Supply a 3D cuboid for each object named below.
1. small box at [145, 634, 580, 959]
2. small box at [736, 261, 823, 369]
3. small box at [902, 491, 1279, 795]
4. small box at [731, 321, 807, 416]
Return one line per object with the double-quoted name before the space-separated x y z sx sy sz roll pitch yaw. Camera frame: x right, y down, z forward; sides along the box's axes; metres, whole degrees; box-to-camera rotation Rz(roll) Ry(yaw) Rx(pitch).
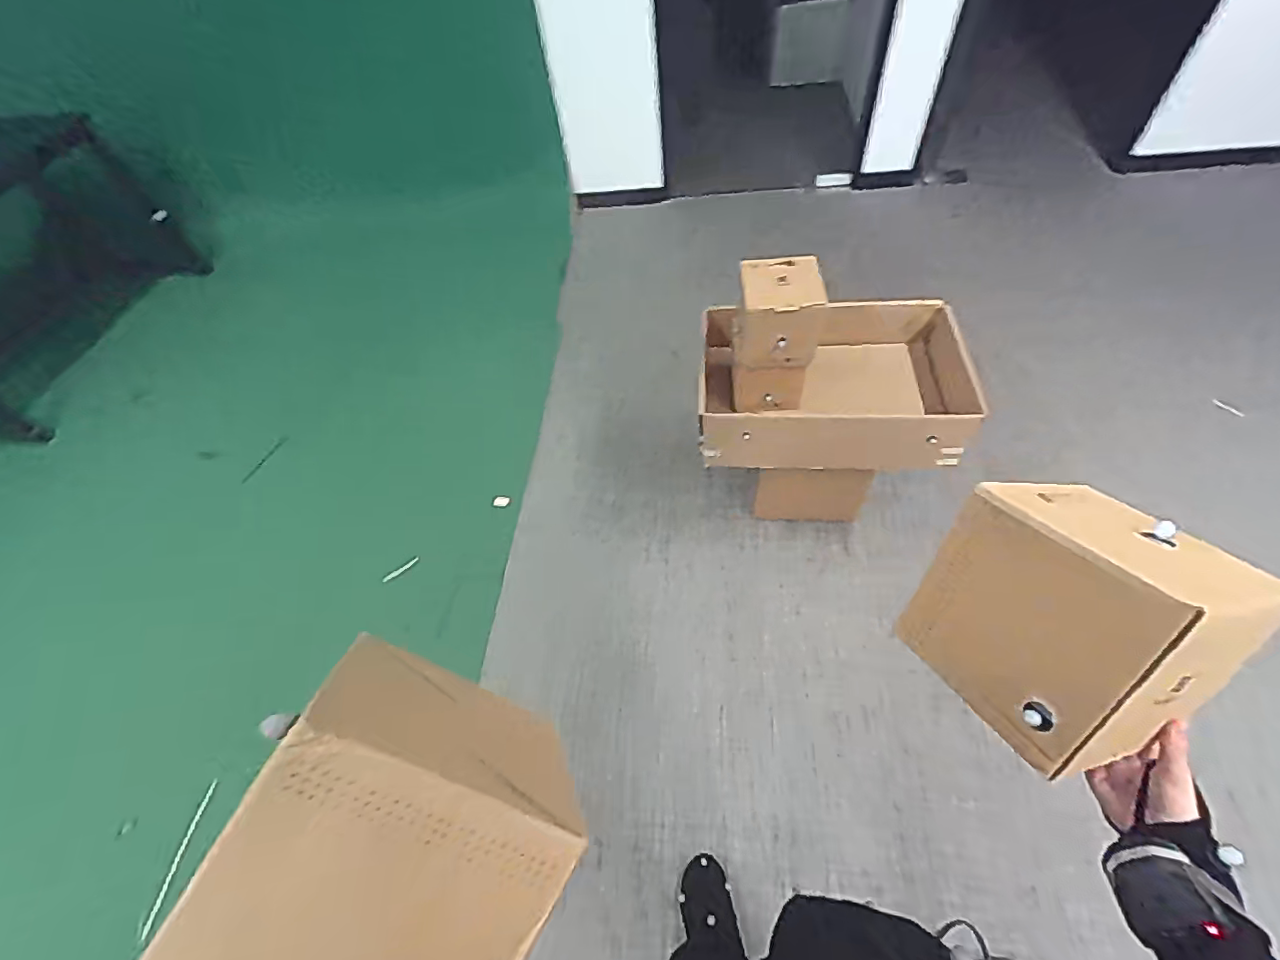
"small box" -0.162 0.231 0.355 0.179 0.168 0.176 34 81 -14
"small box" 0.308 -0.365 1.223 0.168 0.176 0.179 -2 56 6
"small box" 0.365 0.121 0.460 0.168 0.179 0.176 1 29 -24
"small box" 0.318 -0.283 1.365 0.168 0.176 0.179 -3 55 7
